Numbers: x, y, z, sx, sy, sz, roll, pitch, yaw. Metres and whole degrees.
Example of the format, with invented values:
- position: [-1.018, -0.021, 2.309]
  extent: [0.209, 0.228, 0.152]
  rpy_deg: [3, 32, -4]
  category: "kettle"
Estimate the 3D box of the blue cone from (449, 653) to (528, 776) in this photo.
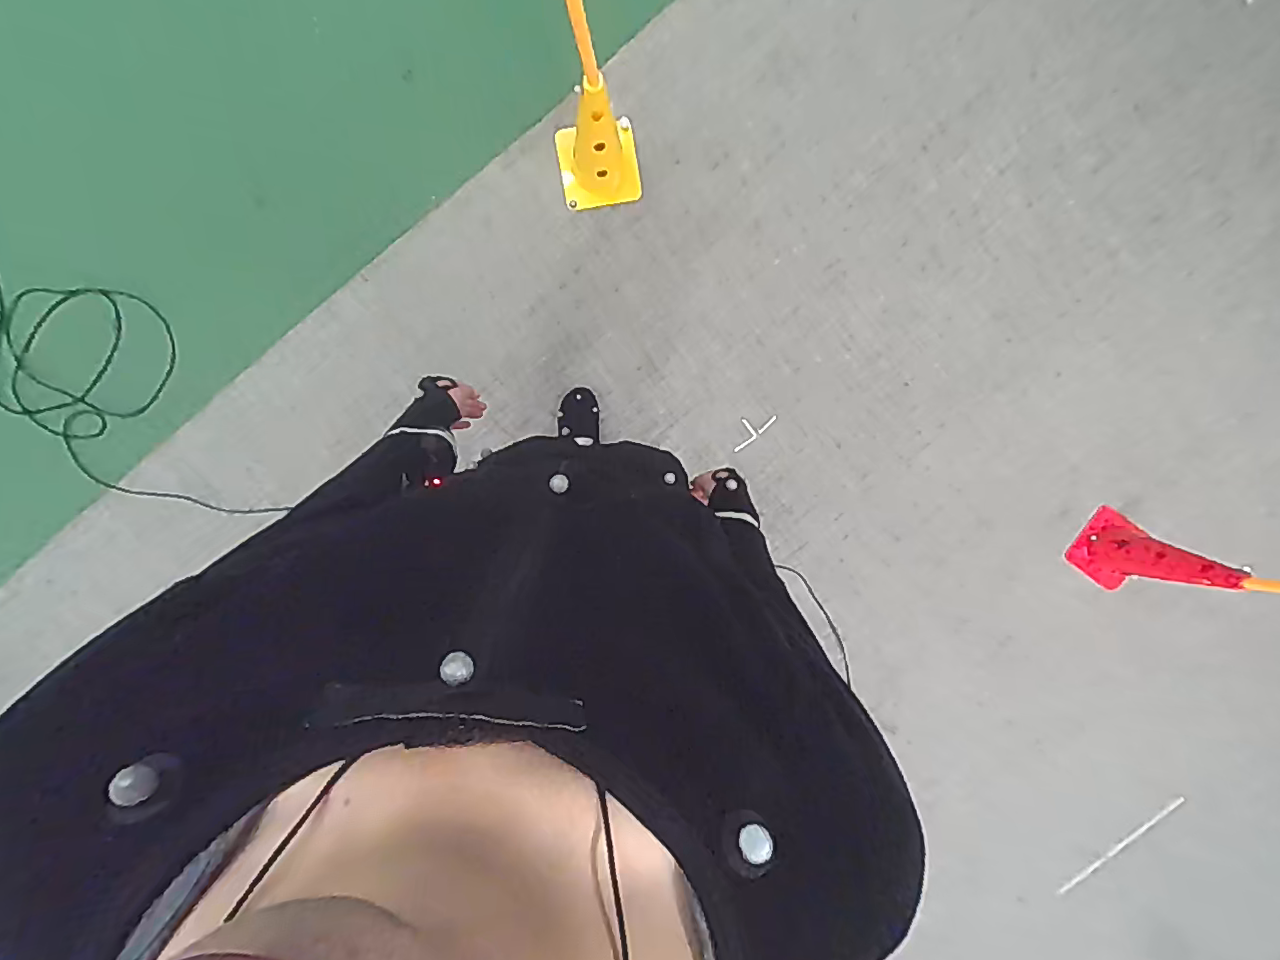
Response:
- position: [-0.402, 0.603, 1.363]
  extent: [0.192, 0.380, 0.193]
  rpy_deg: [5, 99, -5]
  category: "blue cone"
